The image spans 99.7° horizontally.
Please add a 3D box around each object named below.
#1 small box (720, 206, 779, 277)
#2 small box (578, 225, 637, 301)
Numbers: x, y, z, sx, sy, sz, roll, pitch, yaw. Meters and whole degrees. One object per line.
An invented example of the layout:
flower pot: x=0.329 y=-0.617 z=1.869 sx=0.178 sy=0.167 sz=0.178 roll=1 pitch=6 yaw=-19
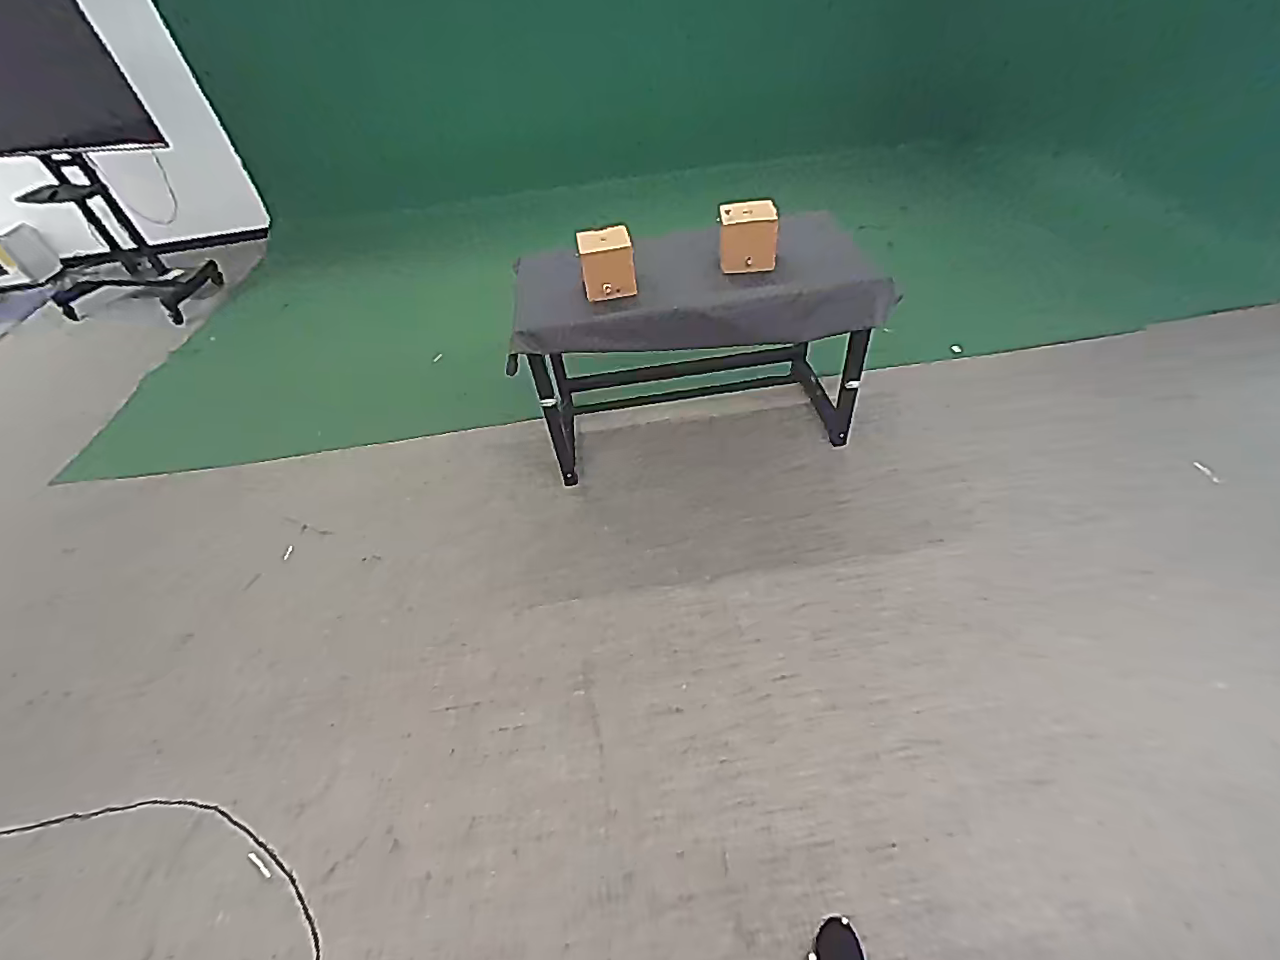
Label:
small box: x=0.366 y=-0.804 z=1.831 sx=0.179 sy=0.176 sz=0.168 roll=-2 pitch=46 yaw=5
small box: x=-0.107 y=-0.716 z=1.786 sx=0.168 sy=0.176 sz=0.179 roll=-10 pitch=45 yaw=0
